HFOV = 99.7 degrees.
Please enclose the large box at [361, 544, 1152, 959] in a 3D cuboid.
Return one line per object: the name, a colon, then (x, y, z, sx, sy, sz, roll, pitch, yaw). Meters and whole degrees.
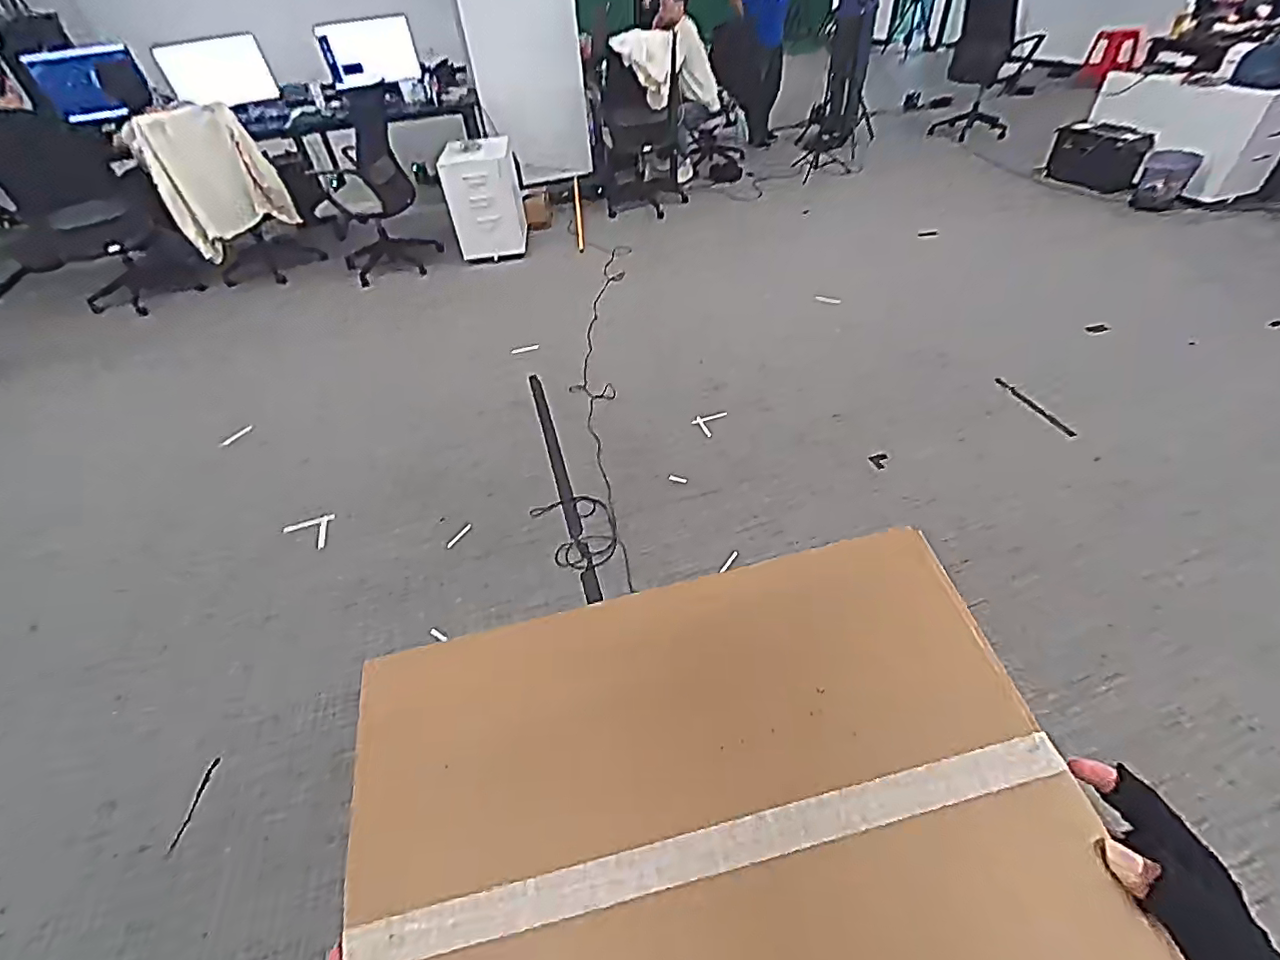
large box: (0.055, 0.298, 0.427, 0.408, 0.320, 0.320, -14, 54, -4)
